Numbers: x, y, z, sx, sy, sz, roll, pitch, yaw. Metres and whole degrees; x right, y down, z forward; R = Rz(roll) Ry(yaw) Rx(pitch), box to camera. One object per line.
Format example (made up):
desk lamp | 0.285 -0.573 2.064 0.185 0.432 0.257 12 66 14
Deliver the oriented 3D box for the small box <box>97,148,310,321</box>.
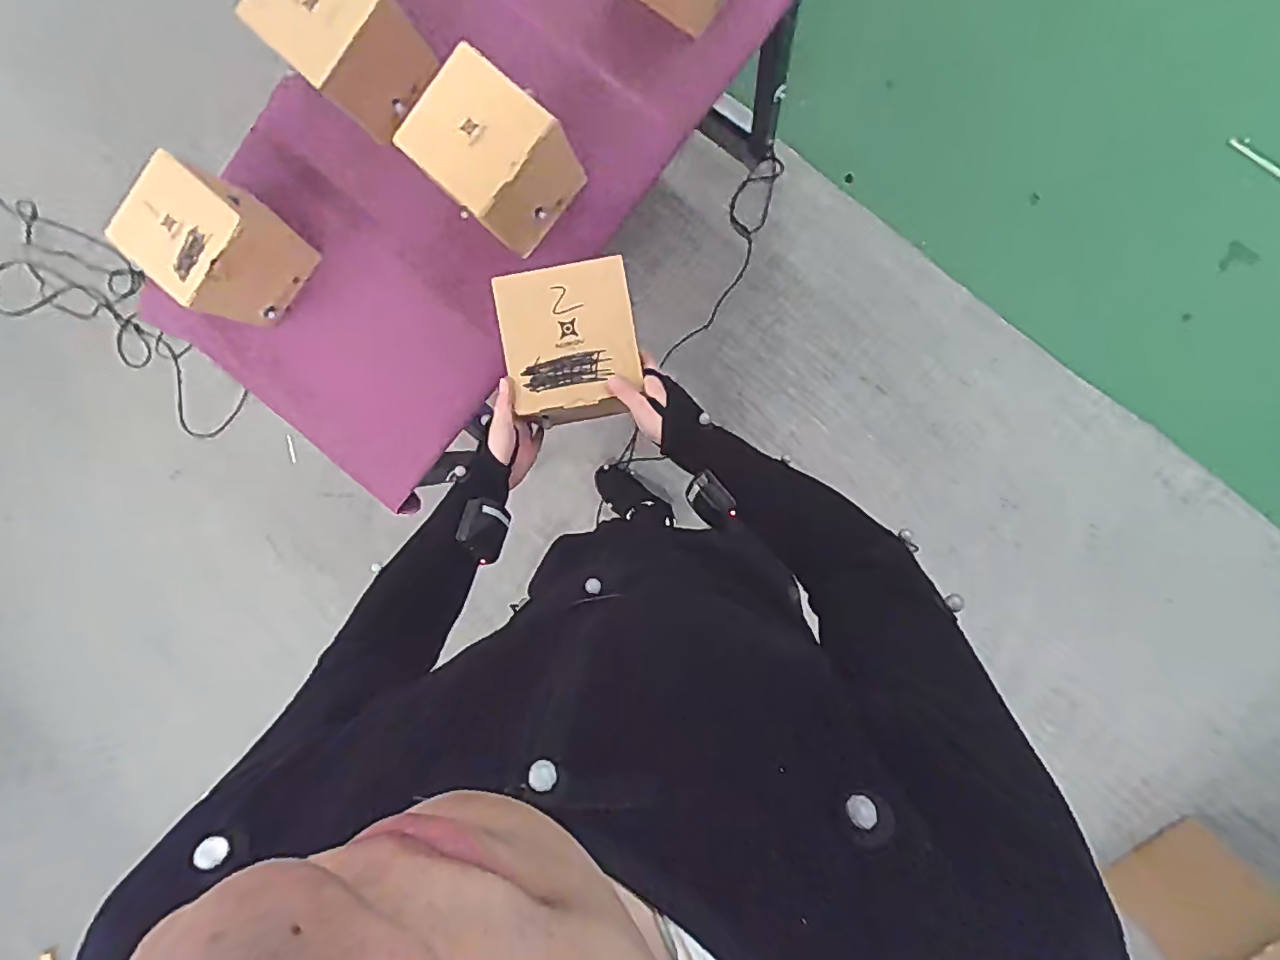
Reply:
small box | -0.690 -0.379 0.877 0.179 0.176 0.168 41 98 1

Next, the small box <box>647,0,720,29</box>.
small box | 0.053 -0.789 0.746 0.179 0.176 0.168 39 100 2

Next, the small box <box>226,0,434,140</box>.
small box | -0.459 -0.672 0.825 0.179 0.176 0.168 42 99 1

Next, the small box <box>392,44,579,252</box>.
small box | -0.220 -0.479 0.813 0.179 0.176 0.168 41 98 3
